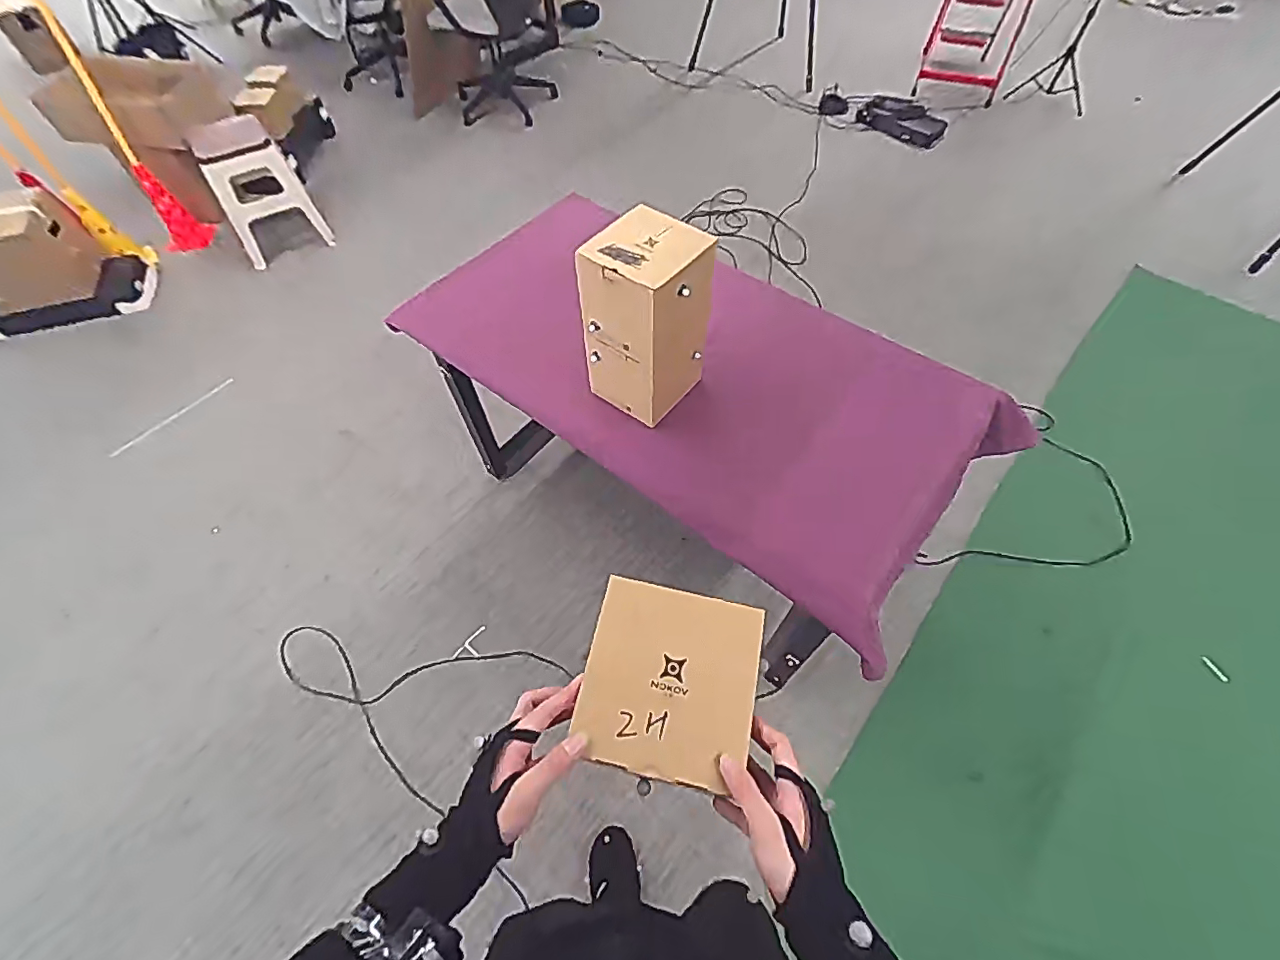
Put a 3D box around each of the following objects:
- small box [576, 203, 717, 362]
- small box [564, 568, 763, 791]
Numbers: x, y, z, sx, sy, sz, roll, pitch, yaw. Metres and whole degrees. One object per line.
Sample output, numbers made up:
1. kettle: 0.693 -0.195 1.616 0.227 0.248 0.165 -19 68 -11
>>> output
1. small box: 0.014 -0.339 0.940 0.168 0.176 0.179 34 63 20
2. small box: 0.026 0.222 0.594 0.168 0.176 0.179 13 62 6
